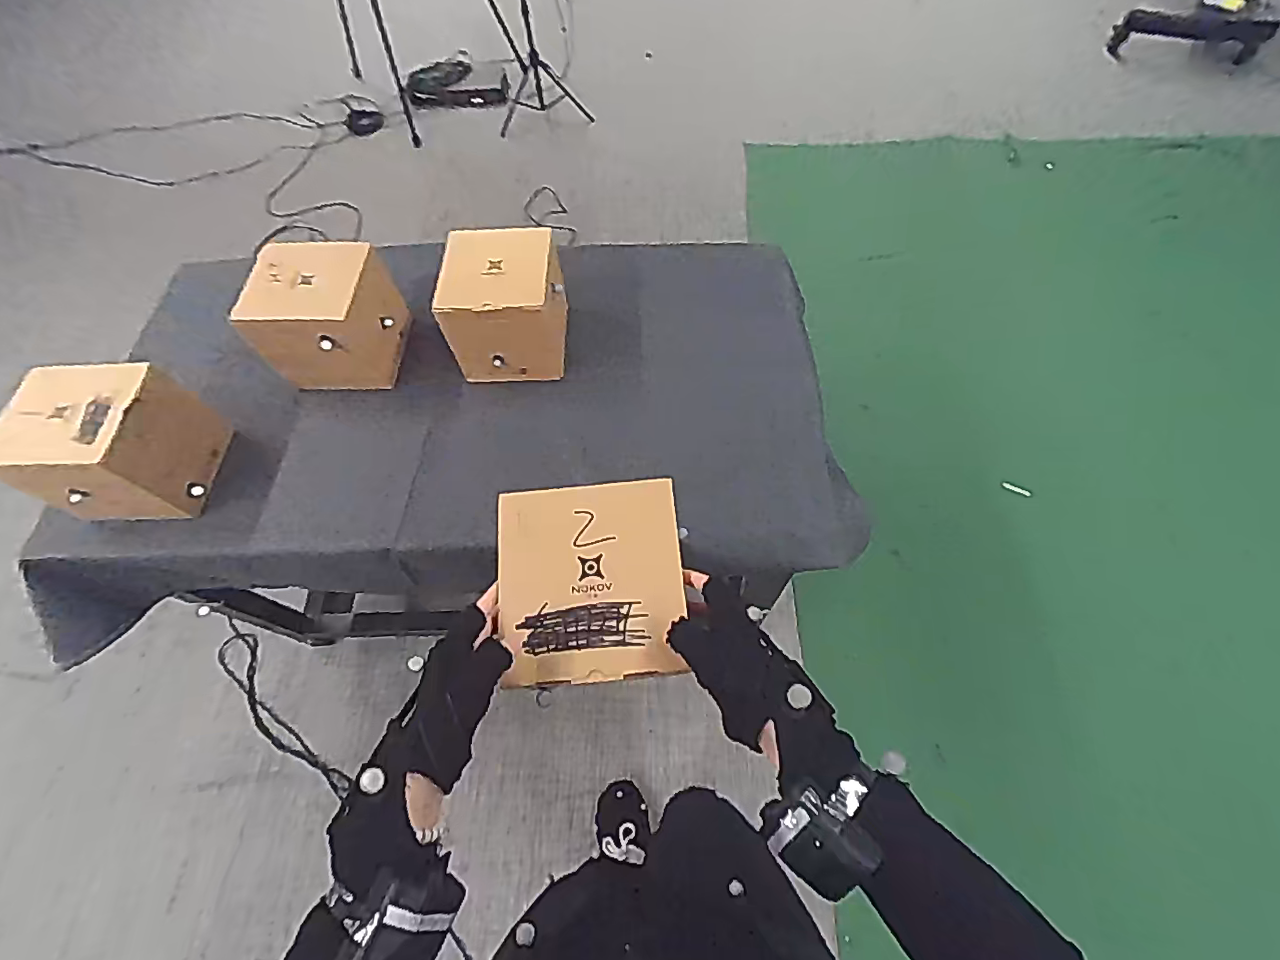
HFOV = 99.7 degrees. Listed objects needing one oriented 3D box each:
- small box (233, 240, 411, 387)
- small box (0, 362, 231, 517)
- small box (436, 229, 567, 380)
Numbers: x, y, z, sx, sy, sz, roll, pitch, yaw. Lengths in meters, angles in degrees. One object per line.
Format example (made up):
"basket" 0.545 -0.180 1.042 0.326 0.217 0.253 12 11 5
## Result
"small box" -0.504 -0.268 0.891 0.179 0.176 0.168 0 63 2
"small box" -0.754 -0.054 0.787 0.179 0.176 0.168 -2 61 2
"small box" -0.215 -0.287 0.895 0.168 0.176 0.179 -1 63 1
